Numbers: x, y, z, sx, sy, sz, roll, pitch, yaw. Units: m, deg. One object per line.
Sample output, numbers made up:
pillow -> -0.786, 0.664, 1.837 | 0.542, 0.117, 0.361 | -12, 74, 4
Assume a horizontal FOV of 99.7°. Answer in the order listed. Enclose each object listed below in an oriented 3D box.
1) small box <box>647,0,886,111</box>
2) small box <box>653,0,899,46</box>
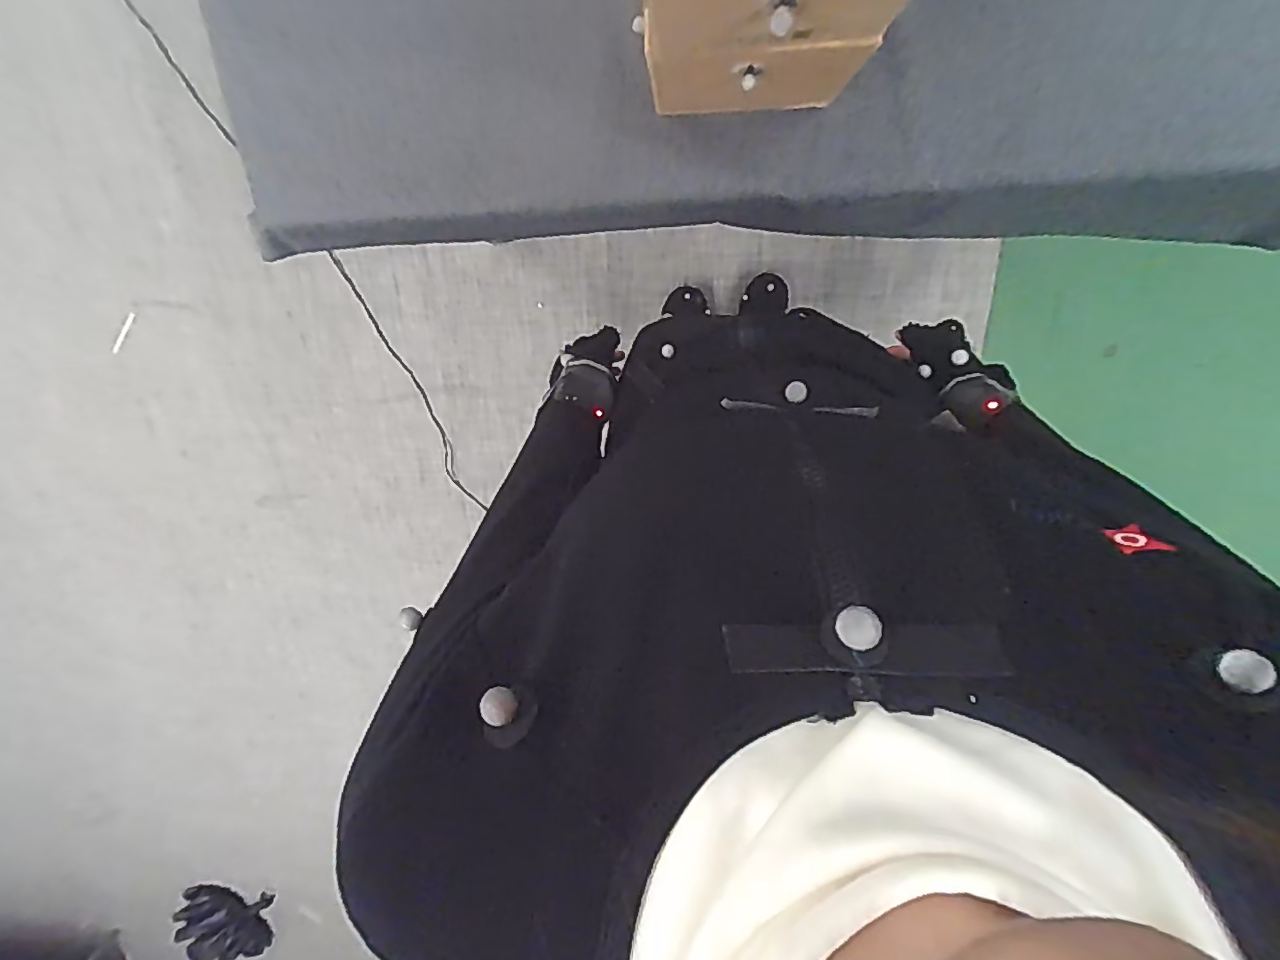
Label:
small box -> 0.097, -0.426, 0.450 | 0.179, 0.176, 0.168 | 0, 112, 4
small box -> 0.084, -0.371, 0.296 | 0.168, 0.176, 0.179 | -1, 112, 6
